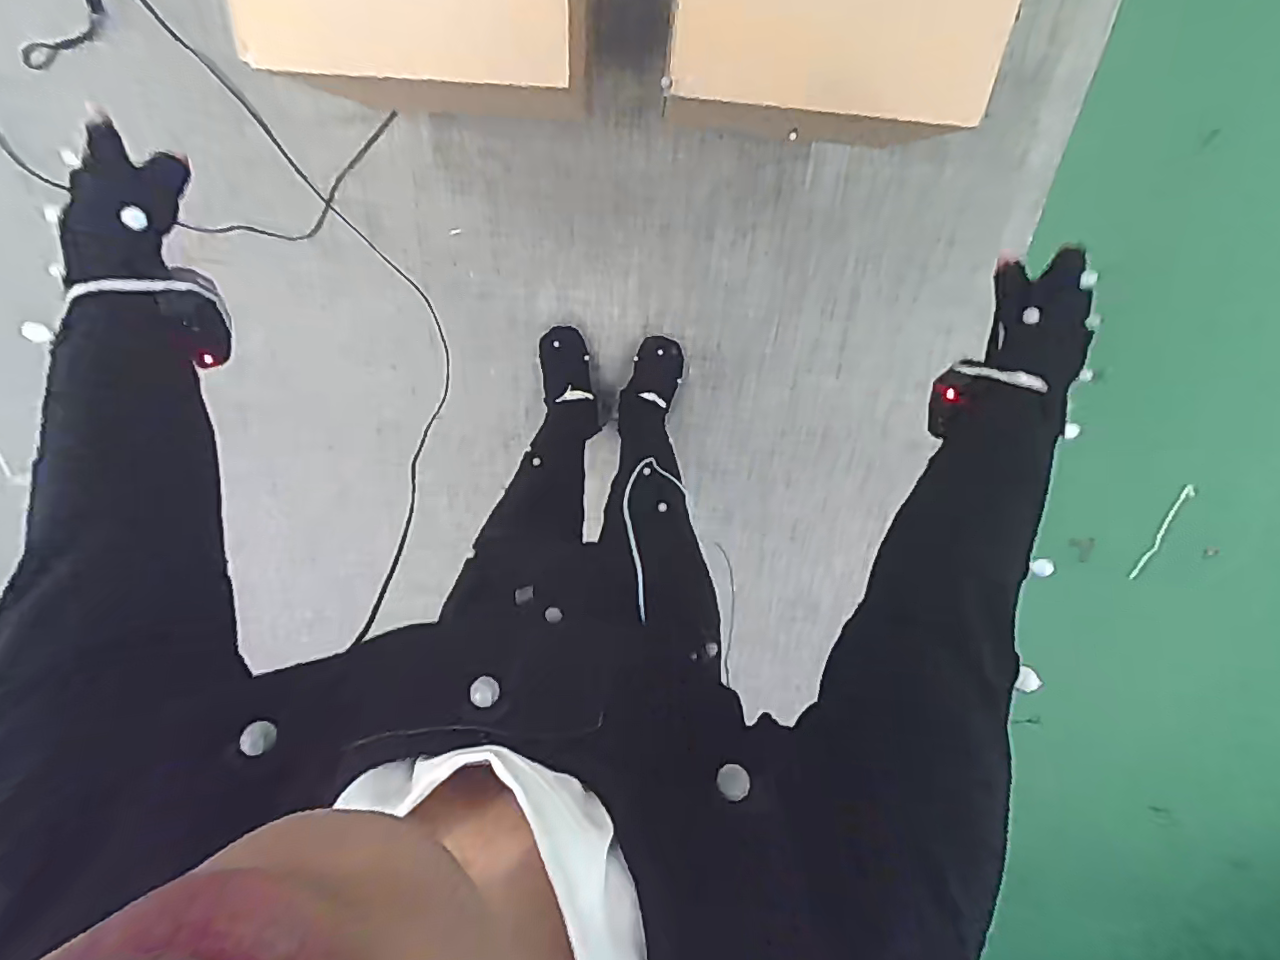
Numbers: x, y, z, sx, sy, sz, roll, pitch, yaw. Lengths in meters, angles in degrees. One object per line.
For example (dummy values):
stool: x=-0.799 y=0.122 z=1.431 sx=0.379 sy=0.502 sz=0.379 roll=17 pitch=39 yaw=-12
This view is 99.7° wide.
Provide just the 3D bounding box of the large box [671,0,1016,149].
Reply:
large box: x=0.263 y=-0.675 z=0.771 sx=0.408 sy=0.320 sz=0.320 roll=6 pitch=117 yaw=-1
